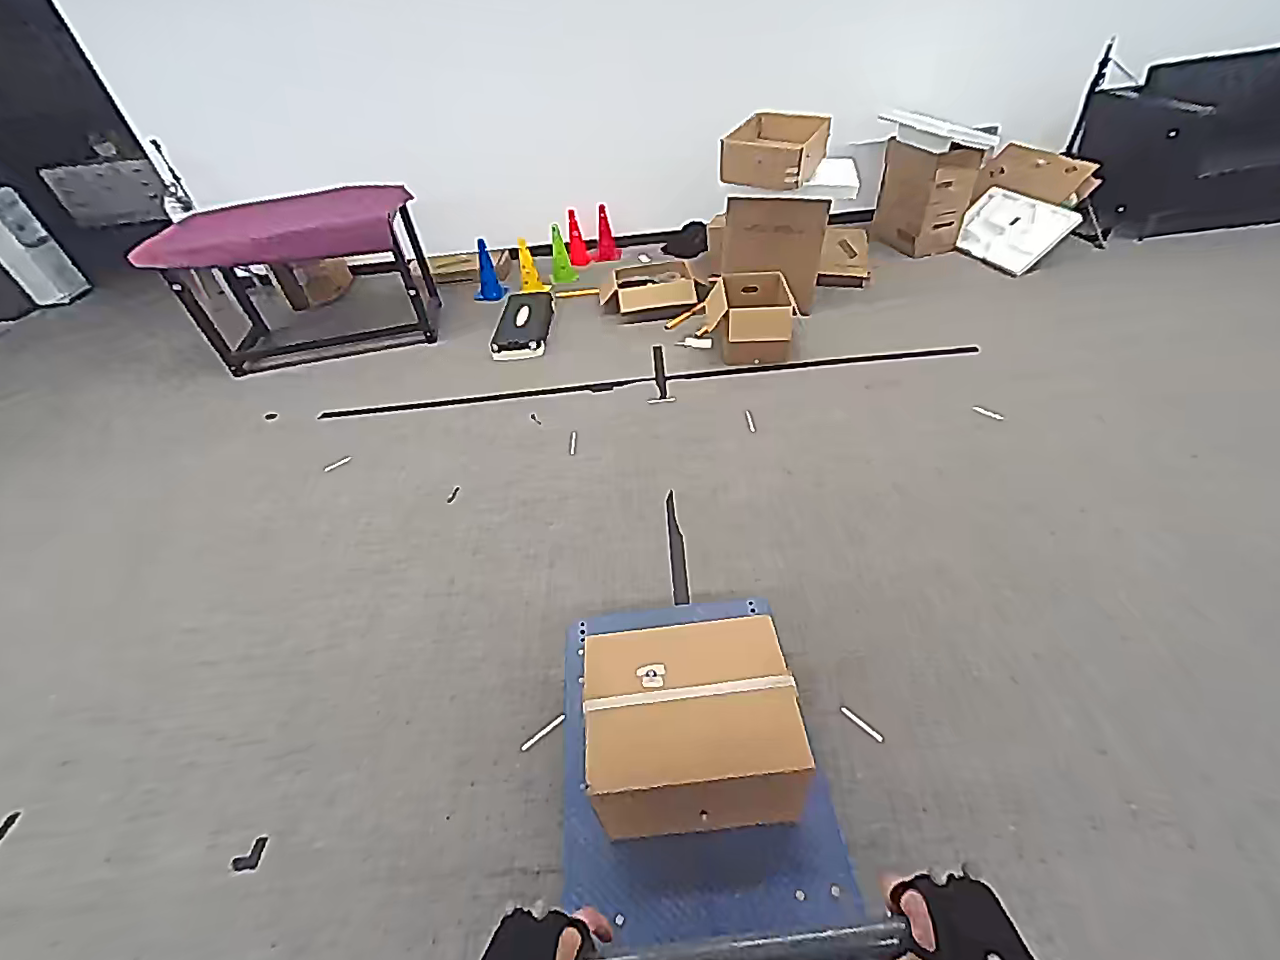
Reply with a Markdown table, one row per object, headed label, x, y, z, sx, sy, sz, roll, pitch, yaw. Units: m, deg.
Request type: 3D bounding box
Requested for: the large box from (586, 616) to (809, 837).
| label | x | y | z | sx | sy | sz | roll | pitch | yaw |
| --- | --- | --- | --- | --- | --- | --- | --- | --- | --- |
| large box | 0.111 | 0.536 | 1.172 | 0.408 | 0.320 | 0.320 | -8 | 42 | 1 |
